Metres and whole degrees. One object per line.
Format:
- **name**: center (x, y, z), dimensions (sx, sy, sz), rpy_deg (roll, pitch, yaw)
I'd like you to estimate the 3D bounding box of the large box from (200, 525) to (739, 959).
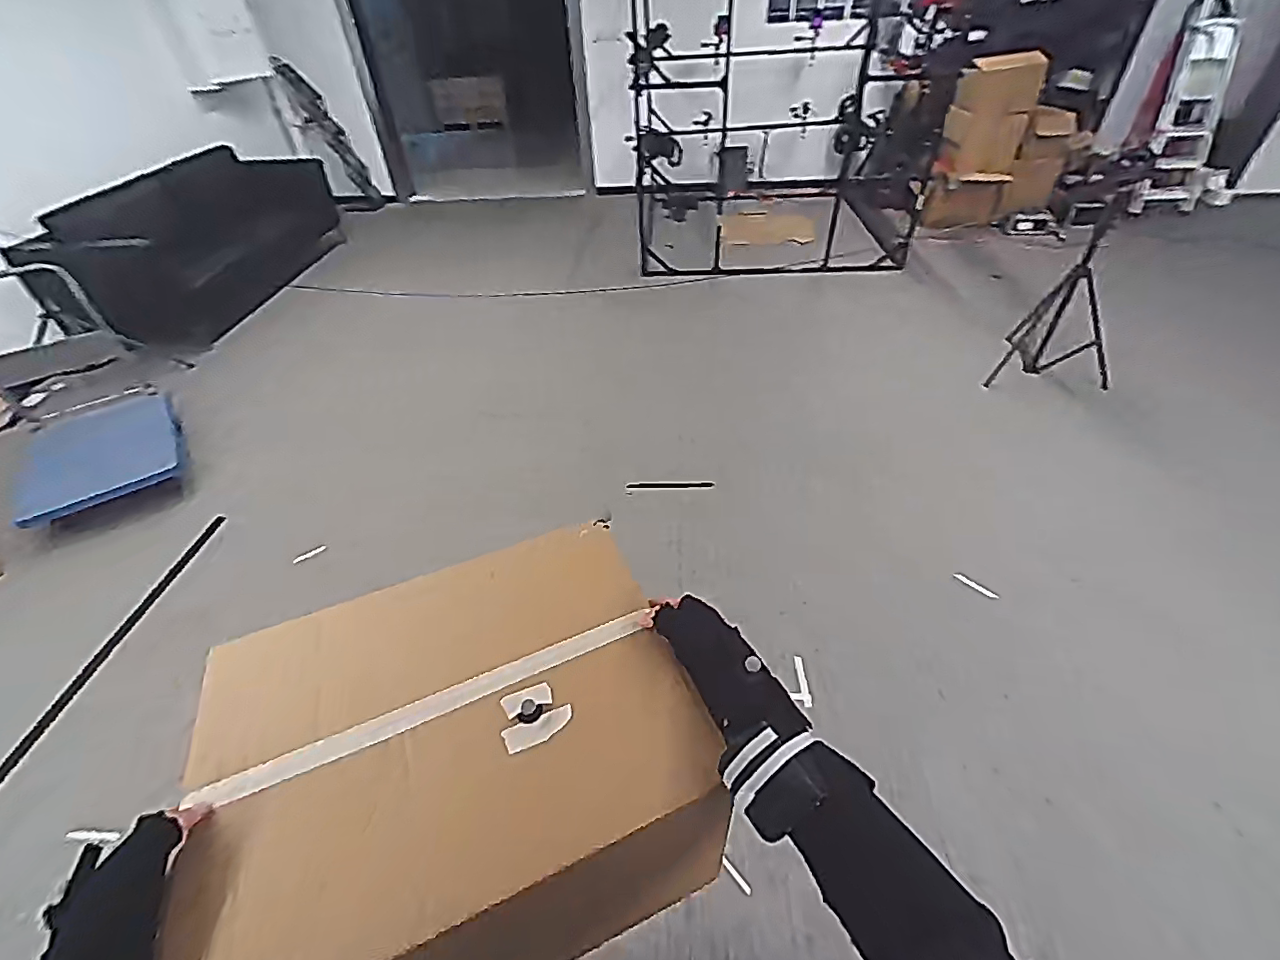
- **large box**: center (-0.151, 0.312, 0.589), dimensions (0.408, 0.320, 0.320), rpy_deg (-17, 44, -16)
